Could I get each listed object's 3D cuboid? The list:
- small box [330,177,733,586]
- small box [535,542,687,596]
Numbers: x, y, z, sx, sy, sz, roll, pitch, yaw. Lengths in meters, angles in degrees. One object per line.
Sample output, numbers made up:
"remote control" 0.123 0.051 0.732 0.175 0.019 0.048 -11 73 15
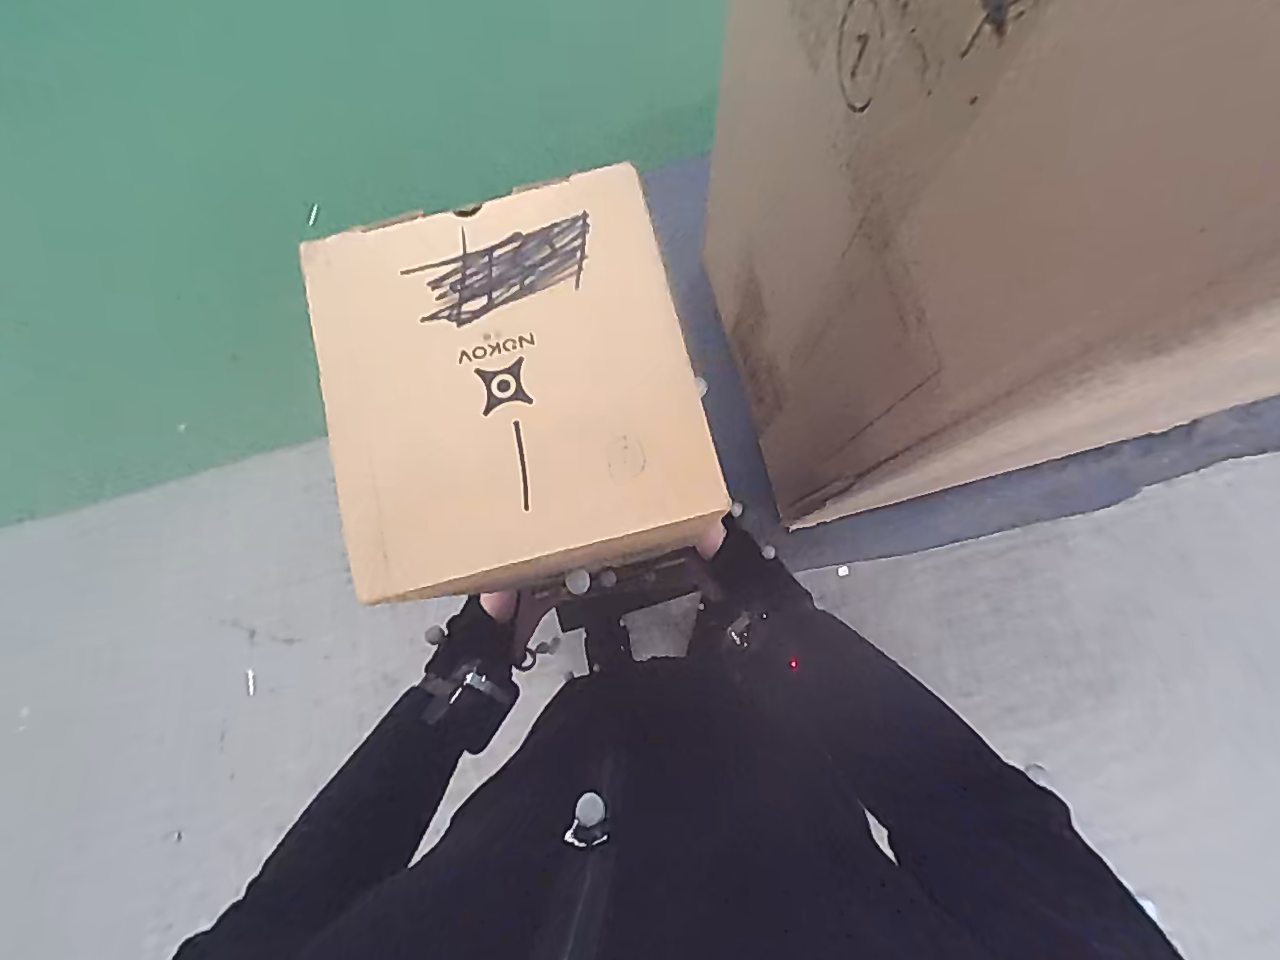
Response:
"small box" -0.054 -0.037 0.332 0.168 0.176 0.179 -14 79 0
"small box" -0.044 0.035 0.654 0.168 0.176 0.179 -15 77 -1
